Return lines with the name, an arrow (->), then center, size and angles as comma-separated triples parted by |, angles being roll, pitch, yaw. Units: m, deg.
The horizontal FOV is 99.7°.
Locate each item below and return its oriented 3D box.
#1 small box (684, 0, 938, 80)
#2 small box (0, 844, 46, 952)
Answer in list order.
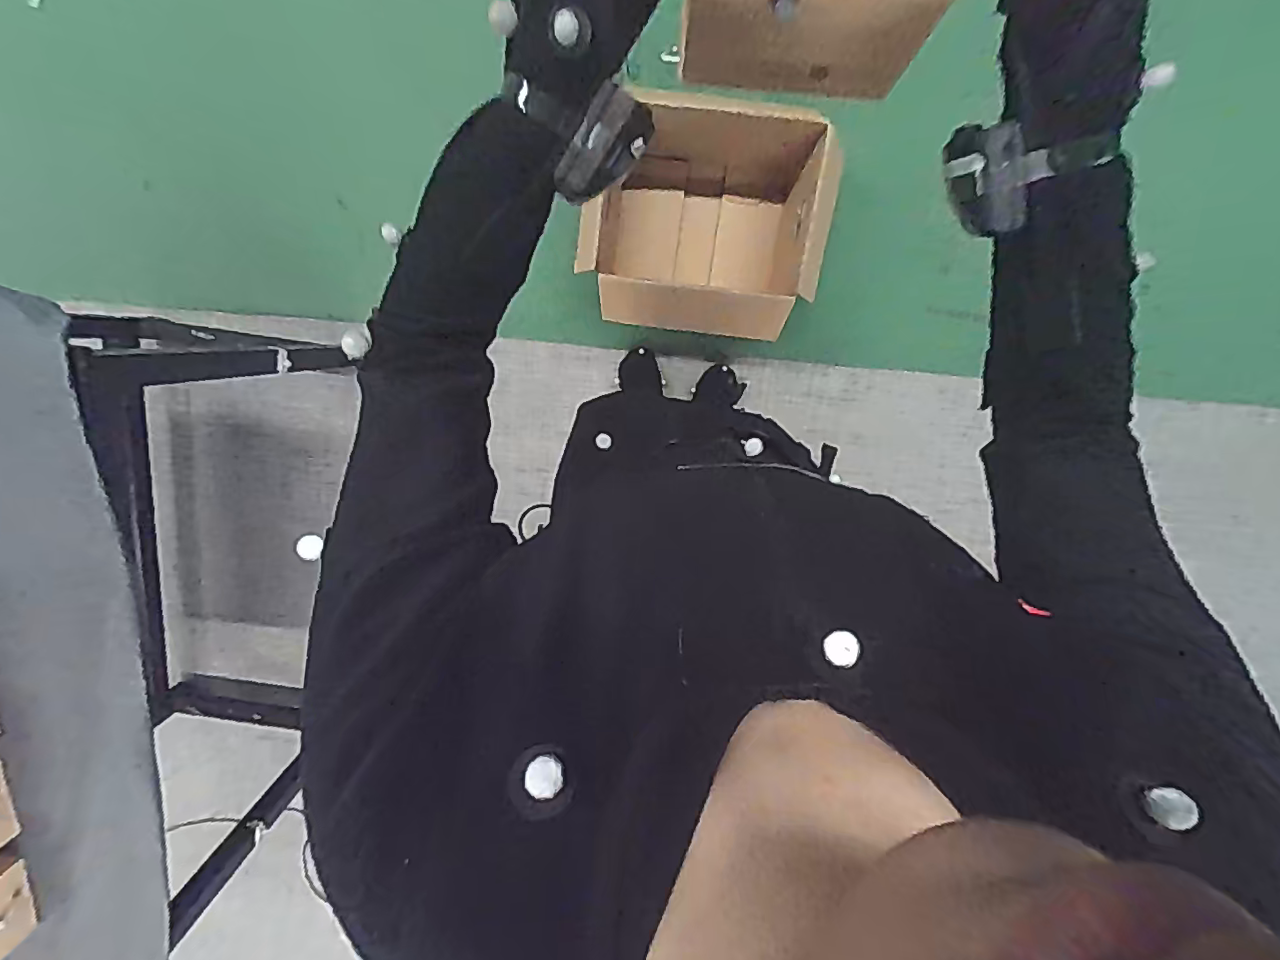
small box -> 0.119, -0.387, 0.327 | 0.168, 0.176, 0.179 | 5, 93, 0
small box -> -1.181, 0.740, 0.908 | 0.179, 0.176, 0.168 | 7, 105, 1
